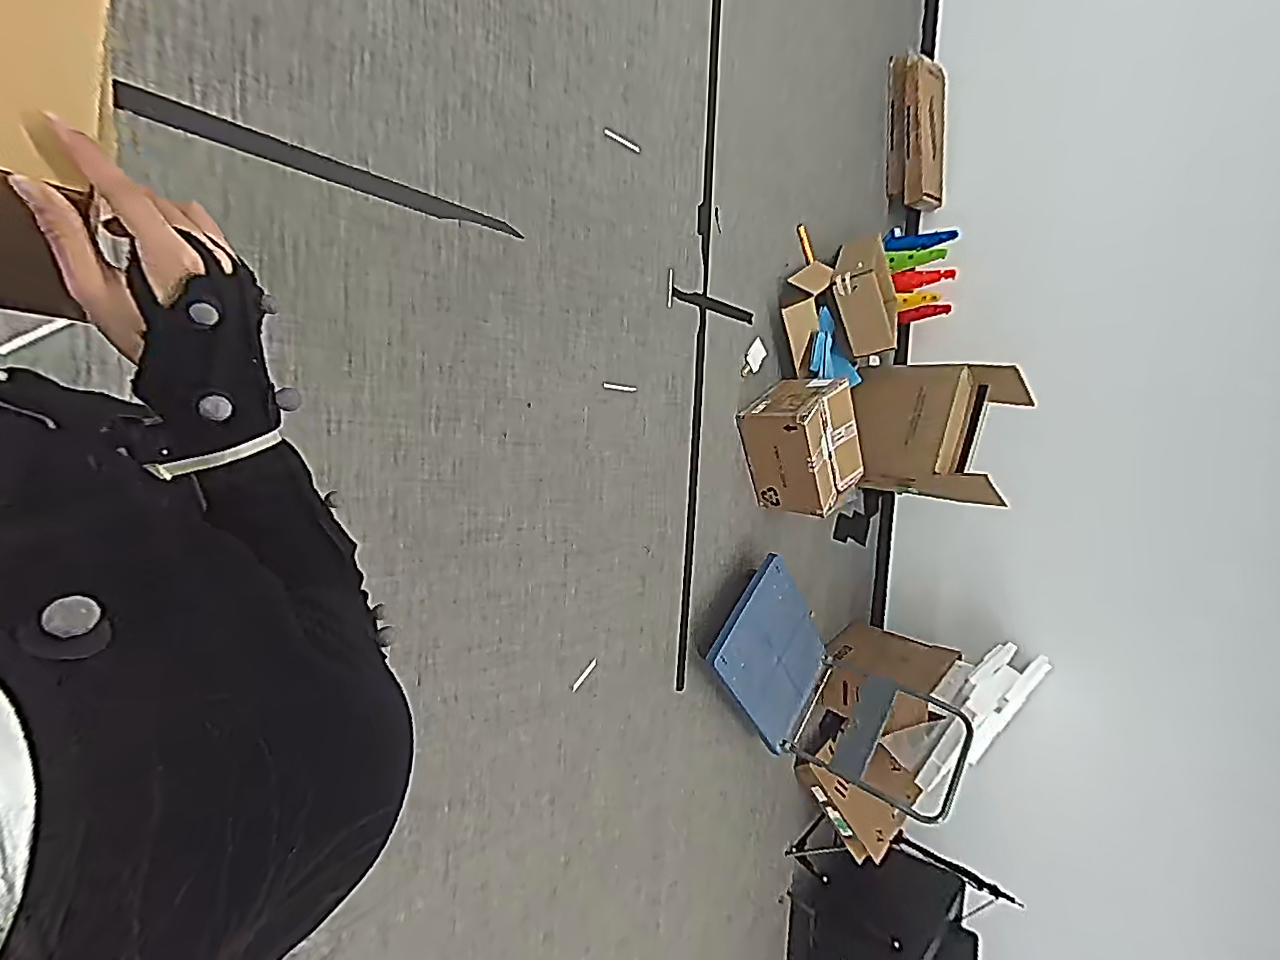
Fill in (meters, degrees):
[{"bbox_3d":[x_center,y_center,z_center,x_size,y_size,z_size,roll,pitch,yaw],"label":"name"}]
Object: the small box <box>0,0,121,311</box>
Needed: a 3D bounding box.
[{"bbox_3d":[-0.411,-0.214,0.297,0.179,0.176,0.168,3,76,-43],"label":"small box"}]
